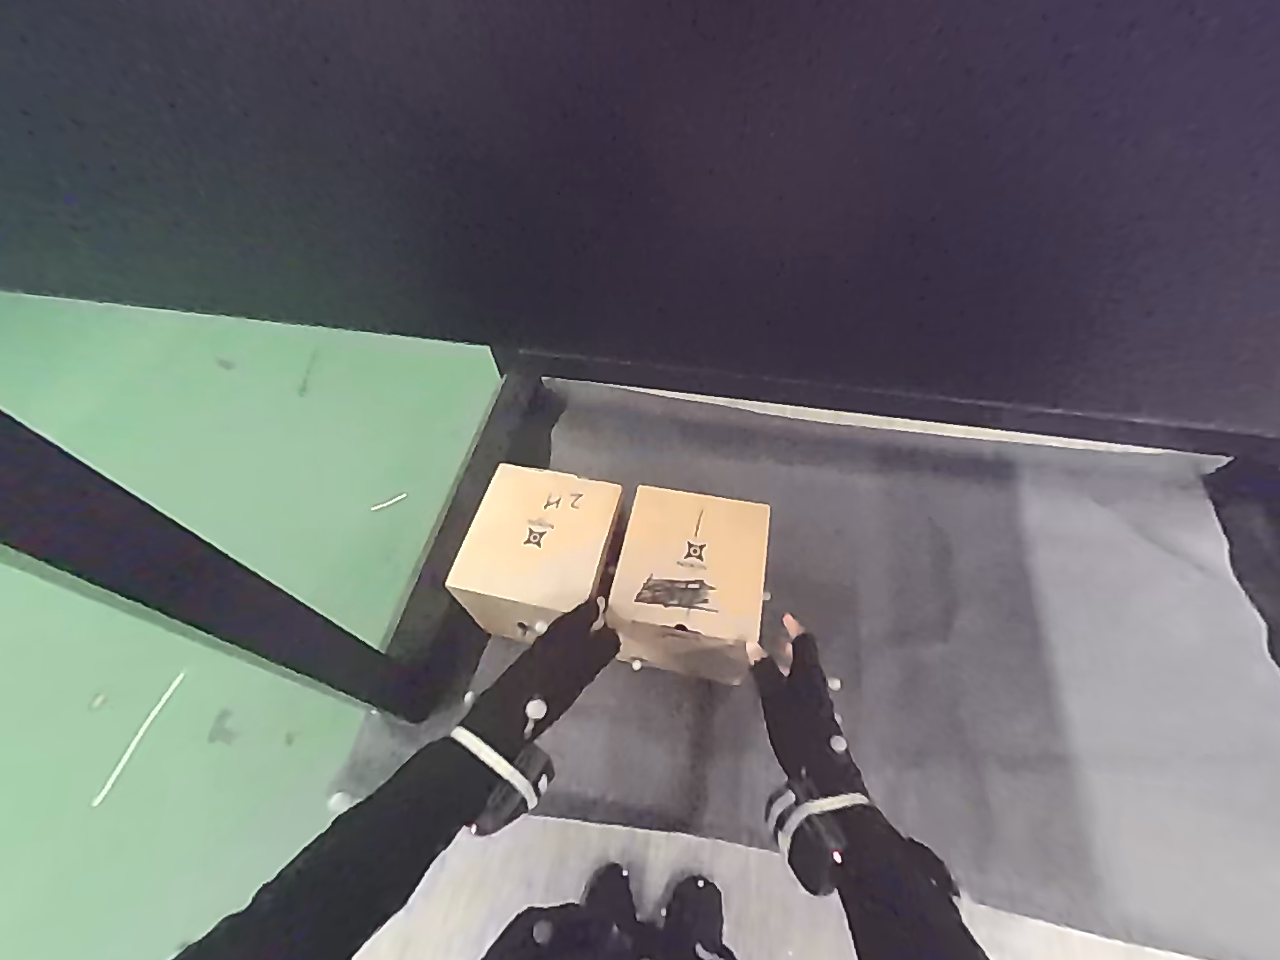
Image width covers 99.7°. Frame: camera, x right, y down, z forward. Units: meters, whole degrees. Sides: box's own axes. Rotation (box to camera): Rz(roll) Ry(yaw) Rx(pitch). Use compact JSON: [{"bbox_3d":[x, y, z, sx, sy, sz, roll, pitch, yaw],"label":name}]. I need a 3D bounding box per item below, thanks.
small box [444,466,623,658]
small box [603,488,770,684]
[{"bbox_3d":[-0.118,0.111,0.697,0.168,0.176,0.179,11,57,8],"label":"small box"},{"bbox_3d":[0.061,0.136,0.673,0.168,0.176,0.179,9,56,9],"label":"small box"}]
